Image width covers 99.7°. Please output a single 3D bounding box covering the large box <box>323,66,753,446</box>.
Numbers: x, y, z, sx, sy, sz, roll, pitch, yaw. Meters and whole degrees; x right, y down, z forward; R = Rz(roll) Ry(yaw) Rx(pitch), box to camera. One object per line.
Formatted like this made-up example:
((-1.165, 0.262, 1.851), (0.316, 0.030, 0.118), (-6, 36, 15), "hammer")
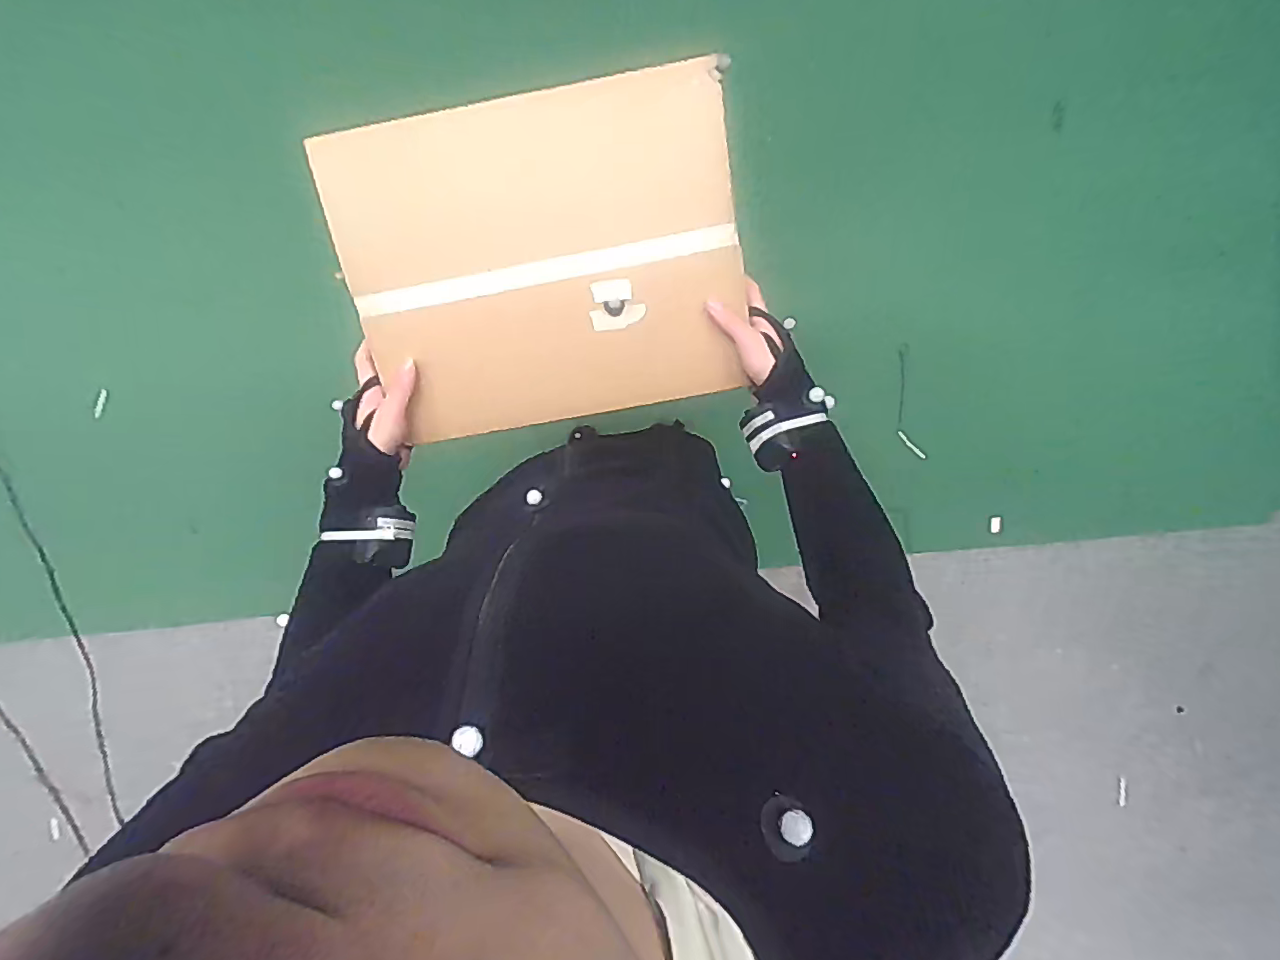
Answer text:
((-0.098, -0.262, 0.712), (0.408, 0.320, 0.320), (-10, 108, 2), "large box")
